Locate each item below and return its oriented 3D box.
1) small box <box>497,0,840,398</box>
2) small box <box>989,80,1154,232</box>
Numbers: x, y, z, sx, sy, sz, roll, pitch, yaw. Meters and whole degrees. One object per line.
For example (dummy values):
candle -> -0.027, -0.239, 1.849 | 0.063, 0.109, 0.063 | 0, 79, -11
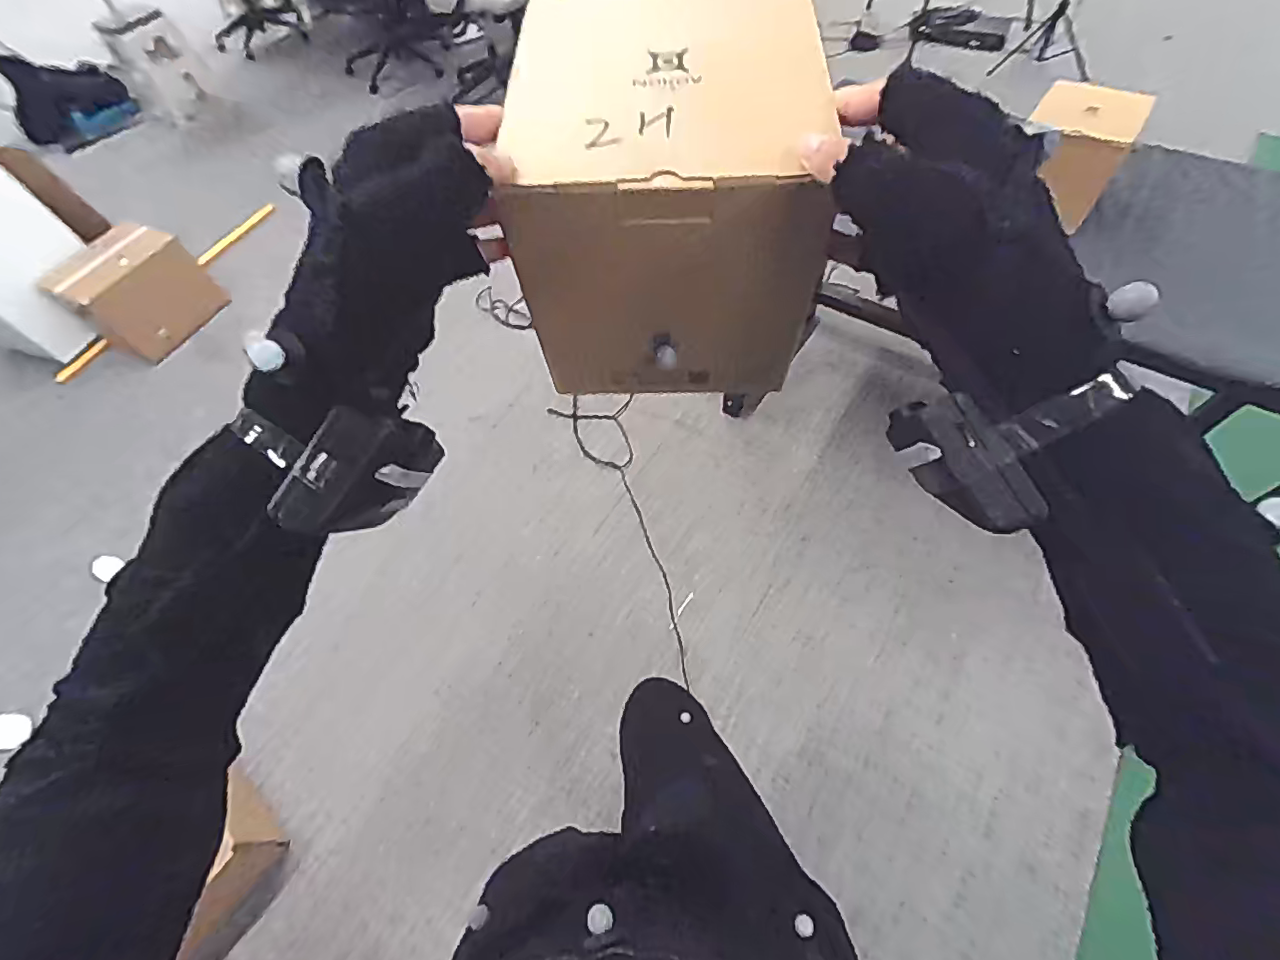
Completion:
small box -> 0.021, -0.175, 0.363 | 0.168, 0.176, 0.179 | 0, 64, 5
small box -> 0.795, -0.604, 1.014 | 0.168, 0.176, 0.179 | 30, 67, 23
